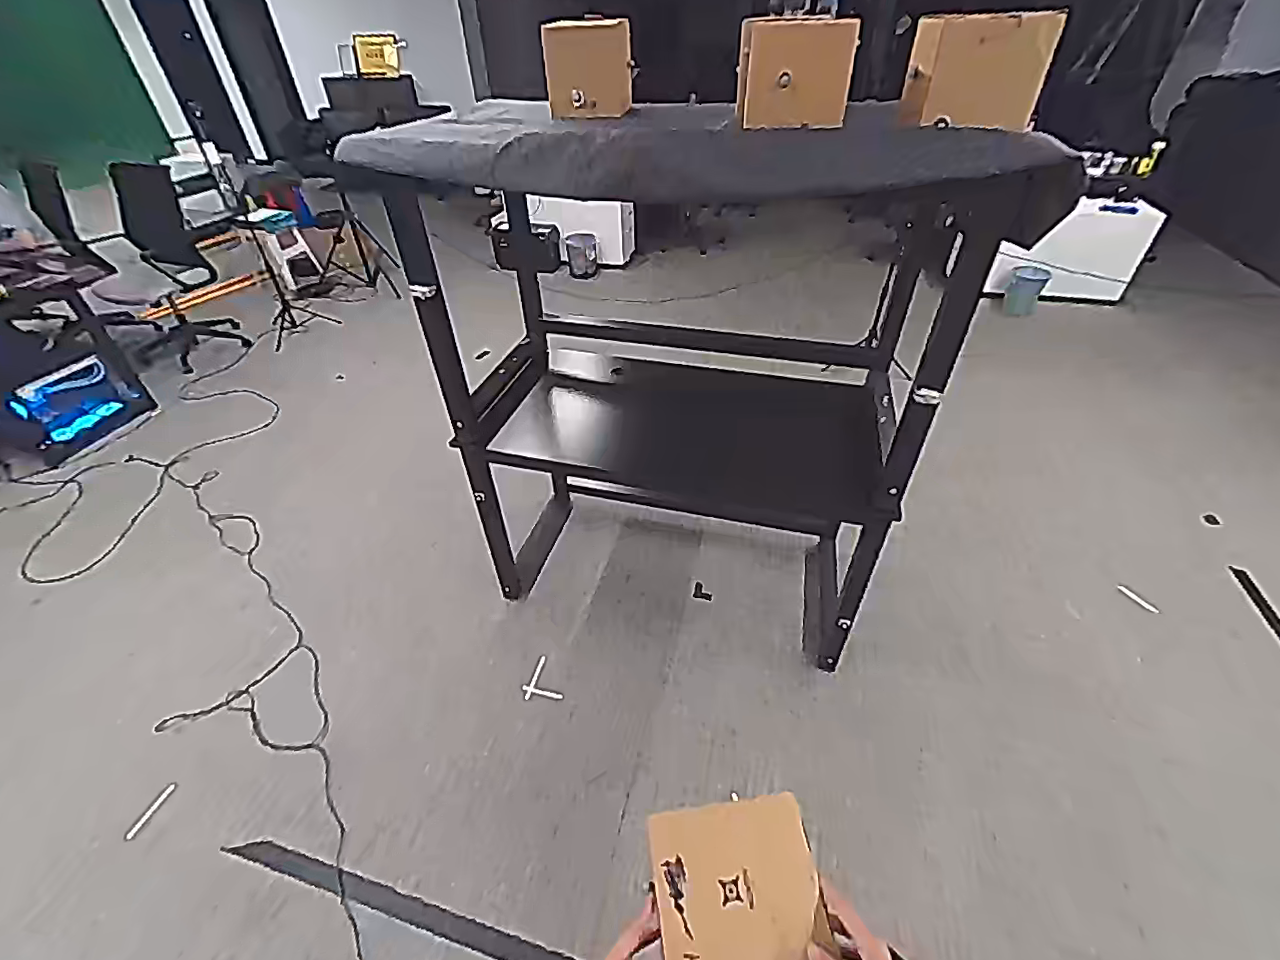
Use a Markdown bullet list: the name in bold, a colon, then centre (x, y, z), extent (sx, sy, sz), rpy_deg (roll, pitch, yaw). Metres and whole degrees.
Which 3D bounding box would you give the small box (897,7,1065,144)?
- **small box**: centre (0.543, -0.663, 0.892), extent (0.168, 0.176, 0.179), rpy_deg (5, 40, 8)

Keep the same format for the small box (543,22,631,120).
- **small box**: centre (-0.113, -0.945, 1.249), extent (0.168, 0.176, 0.179), rpy_deg (4, 41, 8)

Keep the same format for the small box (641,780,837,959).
- **small box**: centre (0.098, 0.468, 0.633), extent (0.179, 0.176, 0.168), rpy_deg (-6, 50, -5)

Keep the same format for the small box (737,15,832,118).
- **small box**: centre (0.311, -0.895, 1.173), extent (0.179, 0.176, 0.168), rpy_deg (9, 43, 12)

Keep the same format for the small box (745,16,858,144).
- **small box**: centre (0.280, -0.705, 0.958), extent (0.168, 0.176, 0.179), rpy_deg (7, 41, 11)
